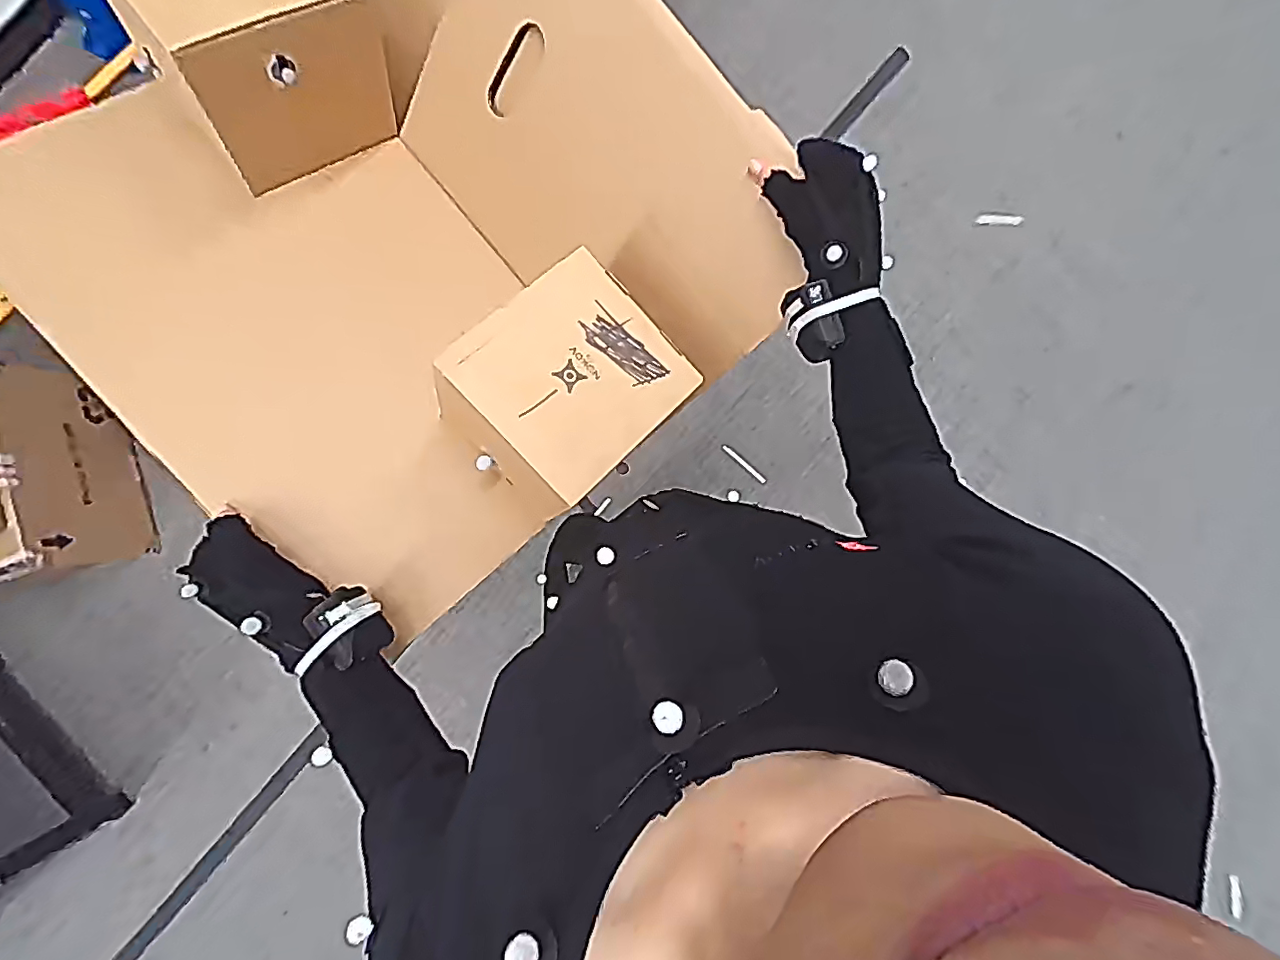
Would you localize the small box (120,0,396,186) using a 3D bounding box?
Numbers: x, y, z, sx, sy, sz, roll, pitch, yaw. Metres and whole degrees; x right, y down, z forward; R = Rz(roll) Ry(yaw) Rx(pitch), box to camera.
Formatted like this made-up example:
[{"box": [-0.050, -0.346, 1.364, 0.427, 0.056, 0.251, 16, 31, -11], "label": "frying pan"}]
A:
[{"box": [-0.361, -0.423, 0.513, 0.179, 0.176, 0.168, -38, 93, -20], "label": "small box"}]
